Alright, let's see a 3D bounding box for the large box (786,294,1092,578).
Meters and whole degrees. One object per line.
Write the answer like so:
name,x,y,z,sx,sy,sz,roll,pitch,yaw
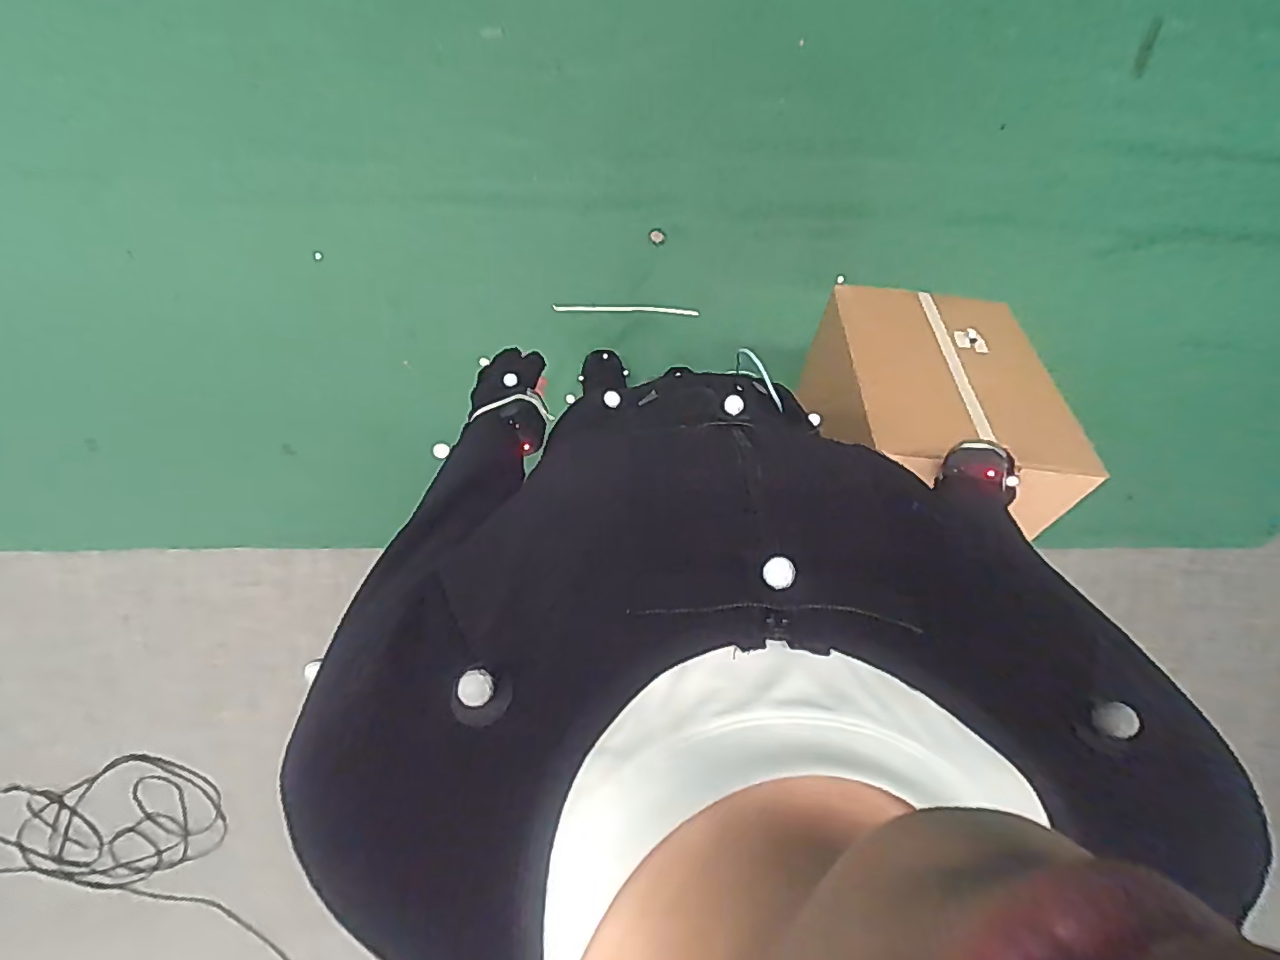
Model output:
large box,0.469,-0.077,0.972,0.320,0.408,0.320,6,140,-1
